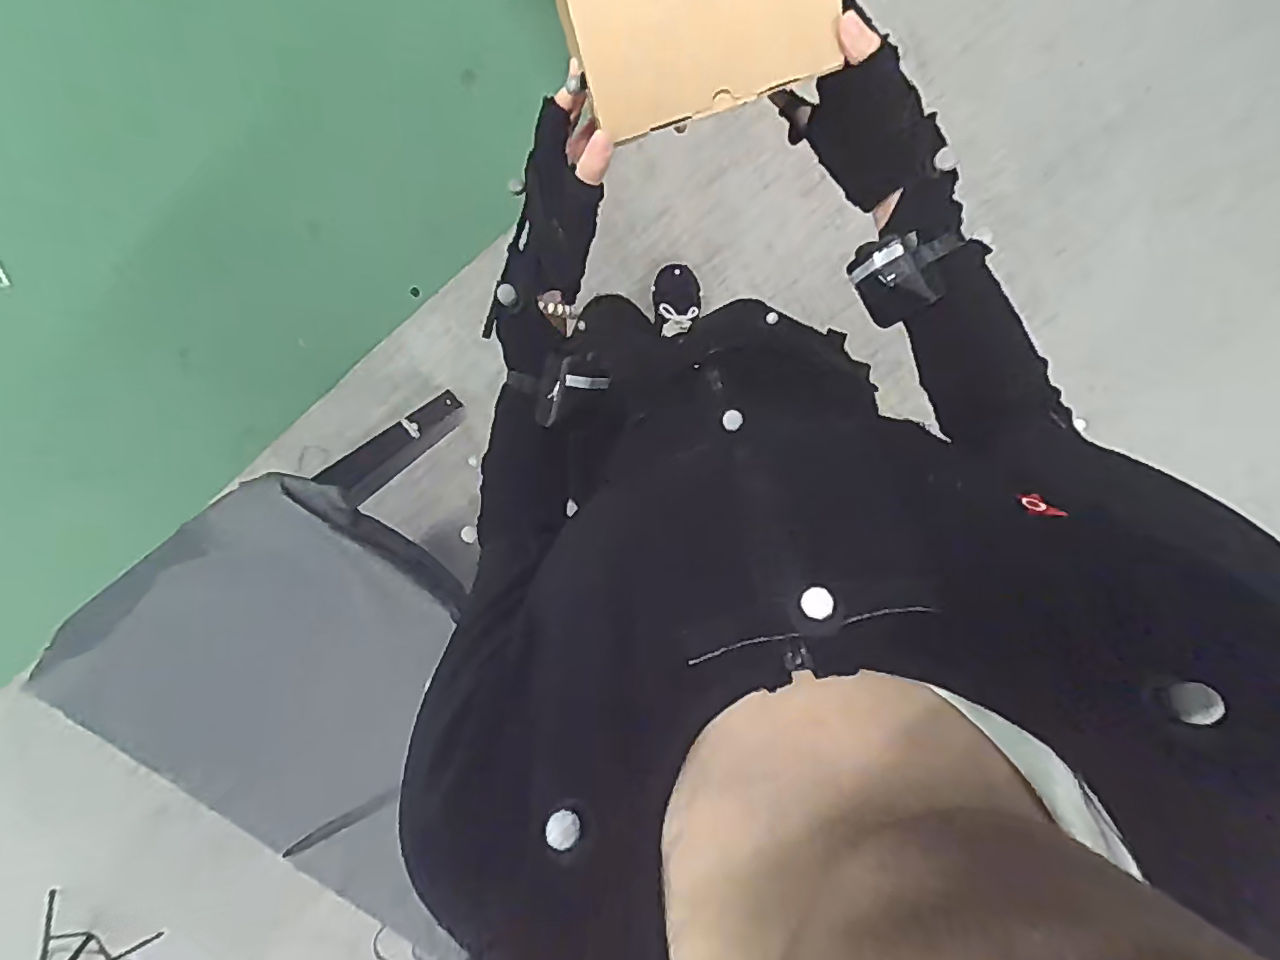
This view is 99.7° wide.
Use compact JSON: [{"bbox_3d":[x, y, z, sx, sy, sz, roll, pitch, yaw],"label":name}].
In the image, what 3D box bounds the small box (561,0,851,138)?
[{"bbox_3d":[0.027,-0.361,0.372,0.168,0.176,0.179,-17,126,4],"label":"small box"}]
